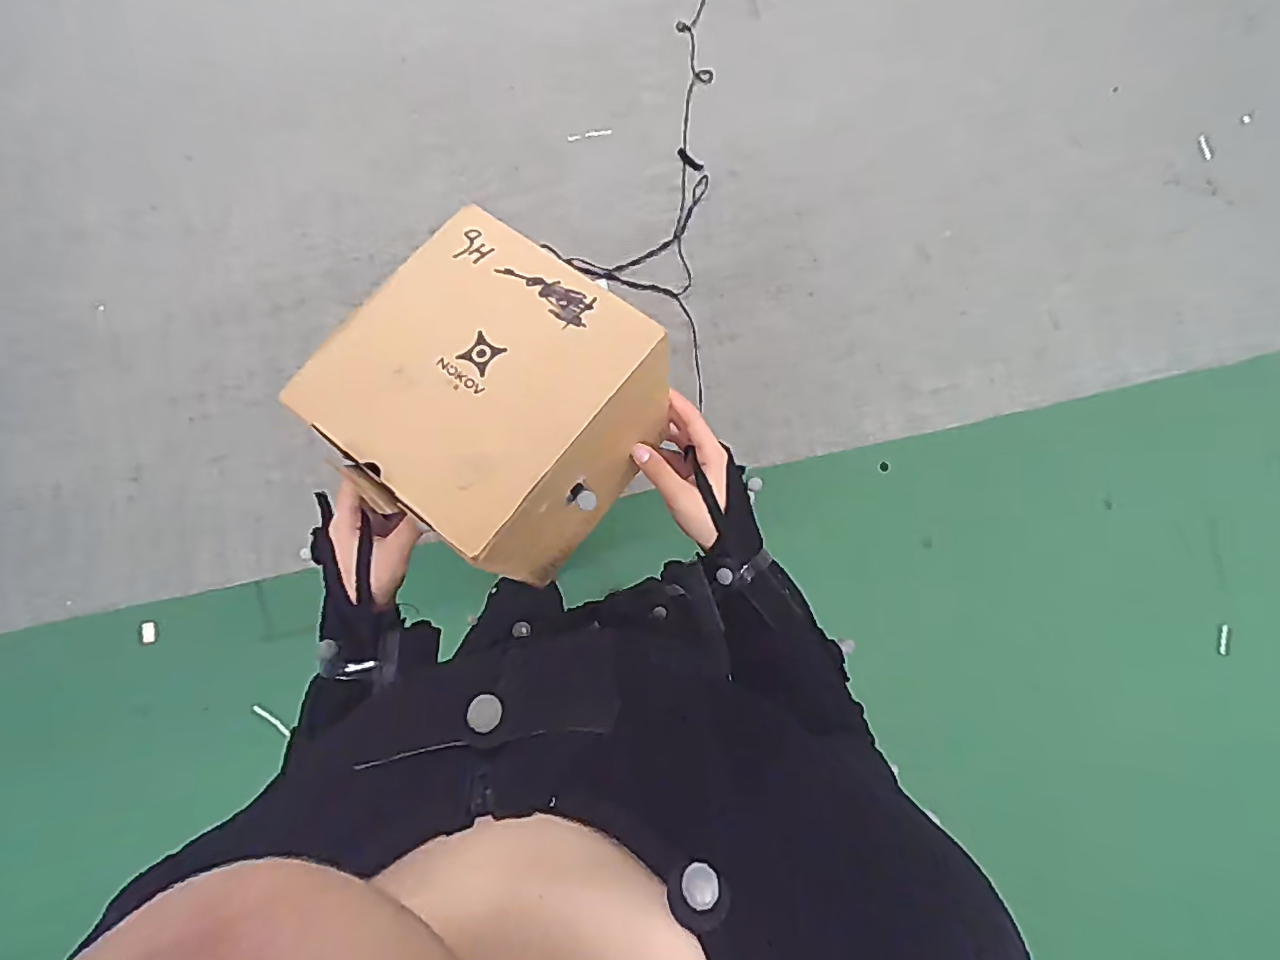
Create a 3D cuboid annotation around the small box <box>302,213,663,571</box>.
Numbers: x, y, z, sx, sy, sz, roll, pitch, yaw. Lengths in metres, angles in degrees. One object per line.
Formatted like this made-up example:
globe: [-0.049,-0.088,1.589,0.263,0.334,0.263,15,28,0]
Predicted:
small box: [-0.092,-0.048,0.411,0.168,0.176,0.179,35,80,13]
